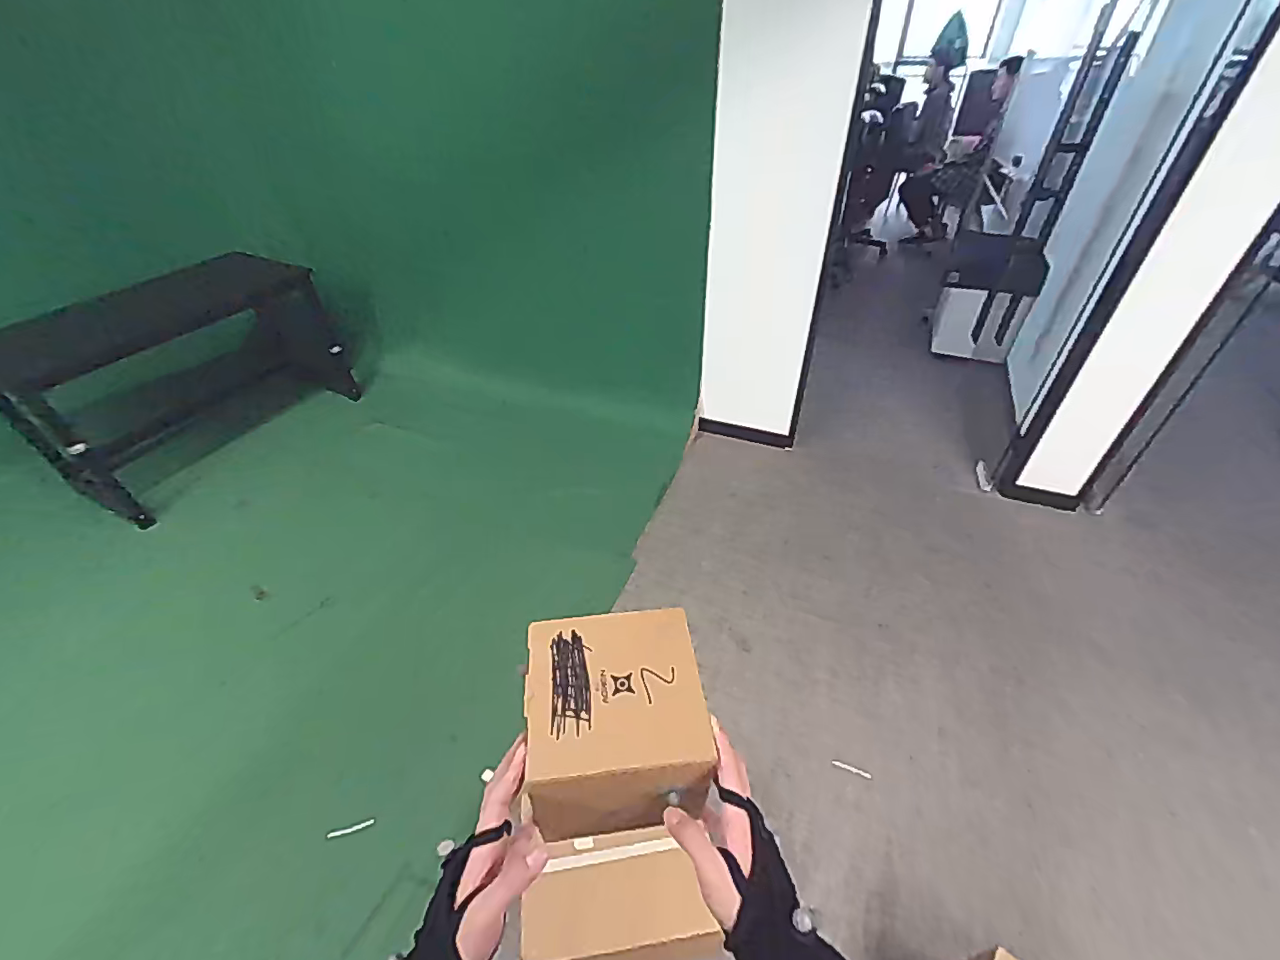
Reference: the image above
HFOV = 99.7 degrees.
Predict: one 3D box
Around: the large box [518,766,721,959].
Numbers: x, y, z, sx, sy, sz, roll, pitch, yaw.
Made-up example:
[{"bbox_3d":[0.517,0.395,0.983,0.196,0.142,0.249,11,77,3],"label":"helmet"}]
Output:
[{"bbox_3d":[-0.054,0.915,1.251,0.408,0.320,0.320,-7,41,-6],"label":"large box"}]
